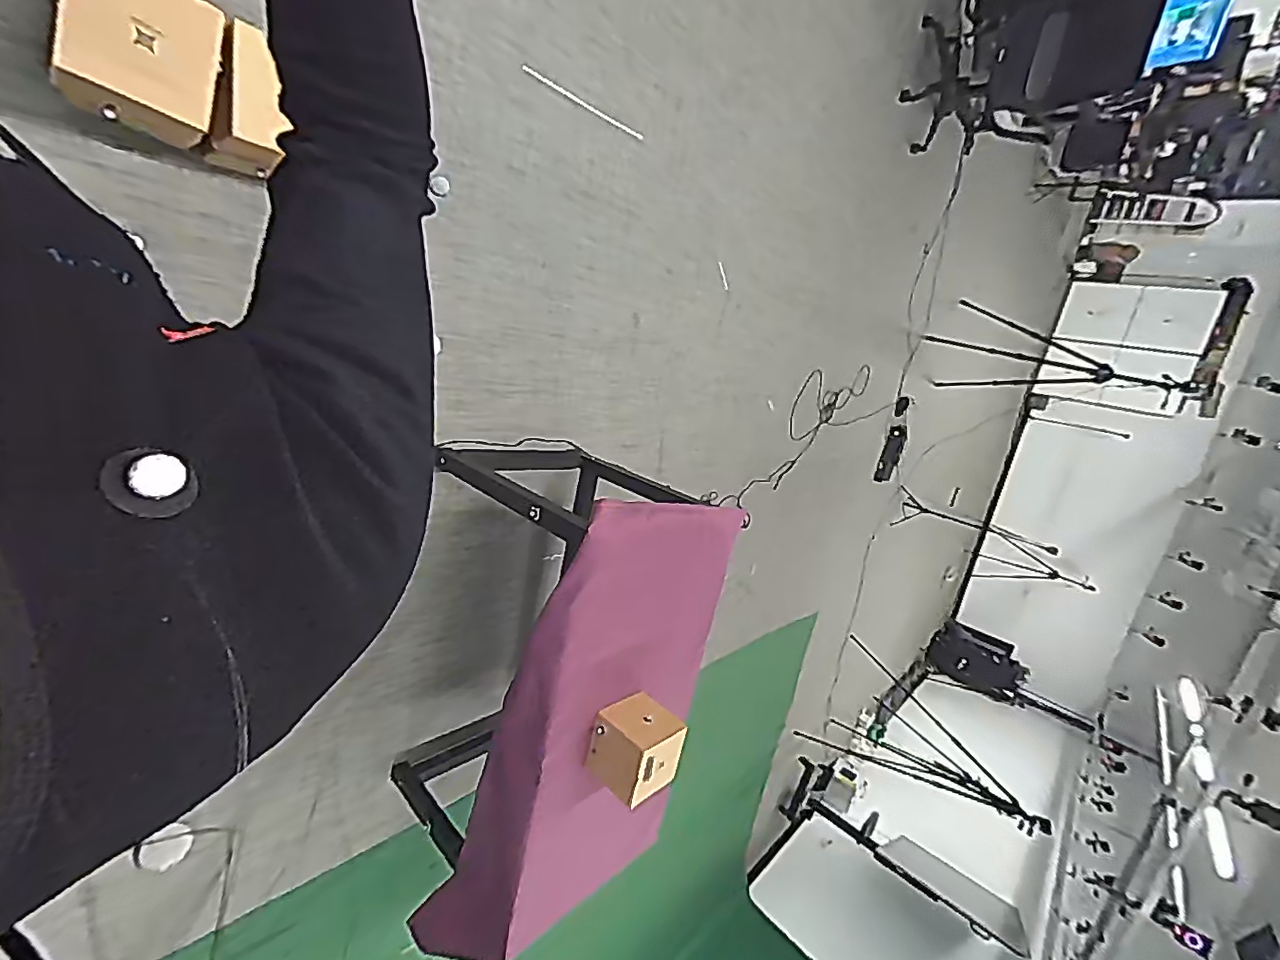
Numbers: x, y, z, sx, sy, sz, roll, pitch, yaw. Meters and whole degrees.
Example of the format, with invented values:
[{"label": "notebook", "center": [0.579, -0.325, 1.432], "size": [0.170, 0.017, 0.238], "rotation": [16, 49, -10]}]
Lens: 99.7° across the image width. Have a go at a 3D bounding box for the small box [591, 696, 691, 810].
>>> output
[{"label": "small box", "center": [-0.001, 0.687, 1.383], "size": [0.179, 0.176, 0.168], "rotation": [-1, 107, -49]}]
